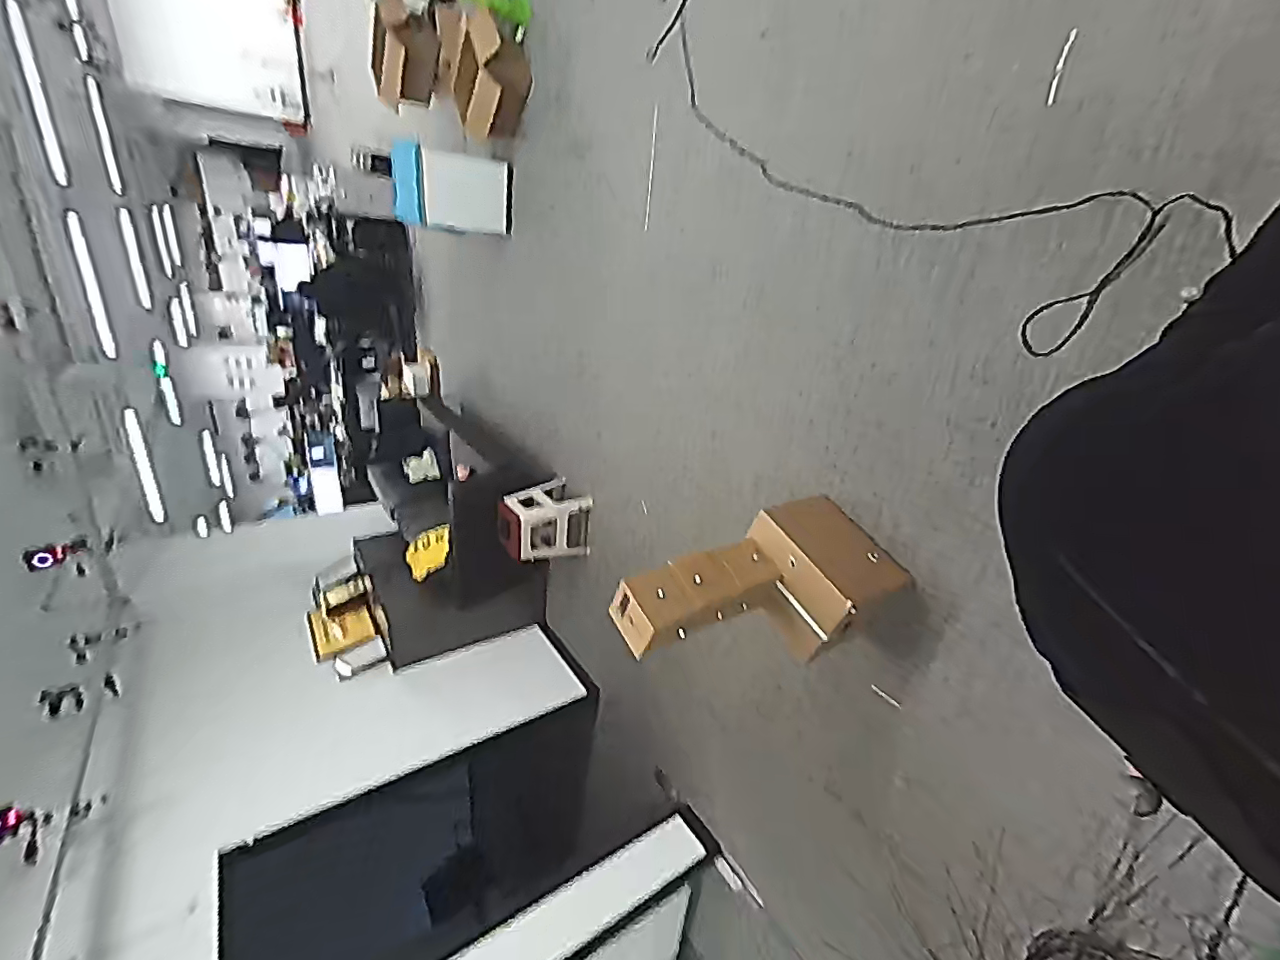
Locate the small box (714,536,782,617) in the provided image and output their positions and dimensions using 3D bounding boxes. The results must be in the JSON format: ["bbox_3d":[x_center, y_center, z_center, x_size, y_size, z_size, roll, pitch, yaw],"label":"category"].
[{"bbox_3d":[0.320,0.304,1.726,0.168,0.176,0.179,53,140,34],"label":"small box"}]

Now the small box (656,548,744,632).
[{"bbox_3d":[0.182,0.325,1.644,0.179,0.176,0.168,54,140,33],"label":"small box"}]
